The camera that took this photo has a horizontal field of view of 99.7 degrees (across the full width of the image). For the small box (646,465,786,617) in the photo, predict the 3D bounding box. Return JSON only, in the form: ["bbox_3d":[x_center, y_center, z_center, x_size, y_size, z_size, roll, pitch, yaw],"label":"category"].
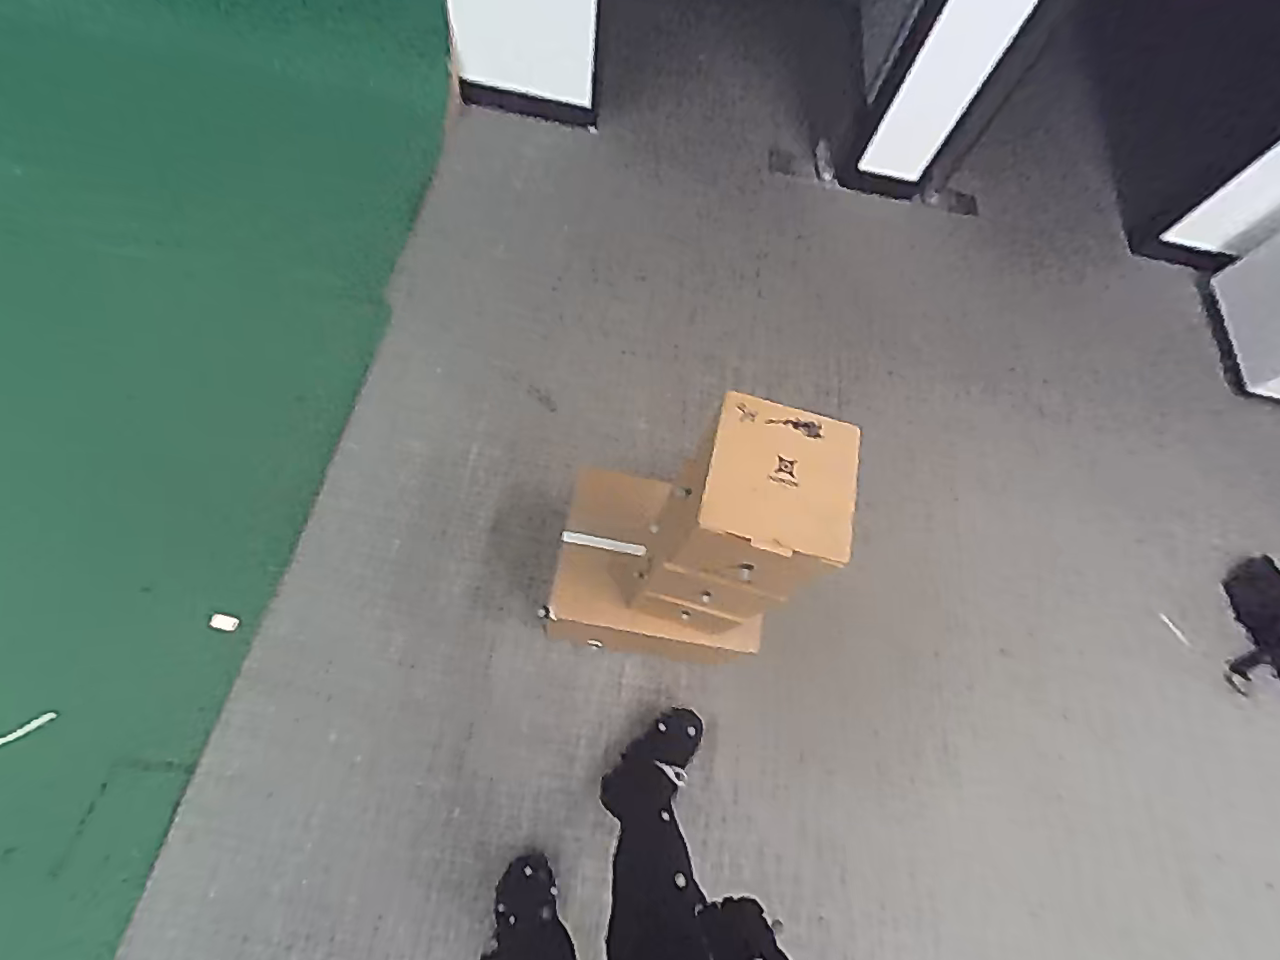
[{"bbox_3d":[0.118,0.101,0.819,0.179,0.176,0.168,15,67,-1],"label":"small box"}]

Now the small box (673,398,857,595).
[{"bbox_3d":[0.145,0.032,0.674,0.168,0.176,0.179,16,67,-1],"label":"small box"}]

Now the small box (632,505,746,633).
[{"bbox_3d":[0.093,0.167,0.967,0.179,0.176,0.168,17,67,-3],"label":"small box"}]
